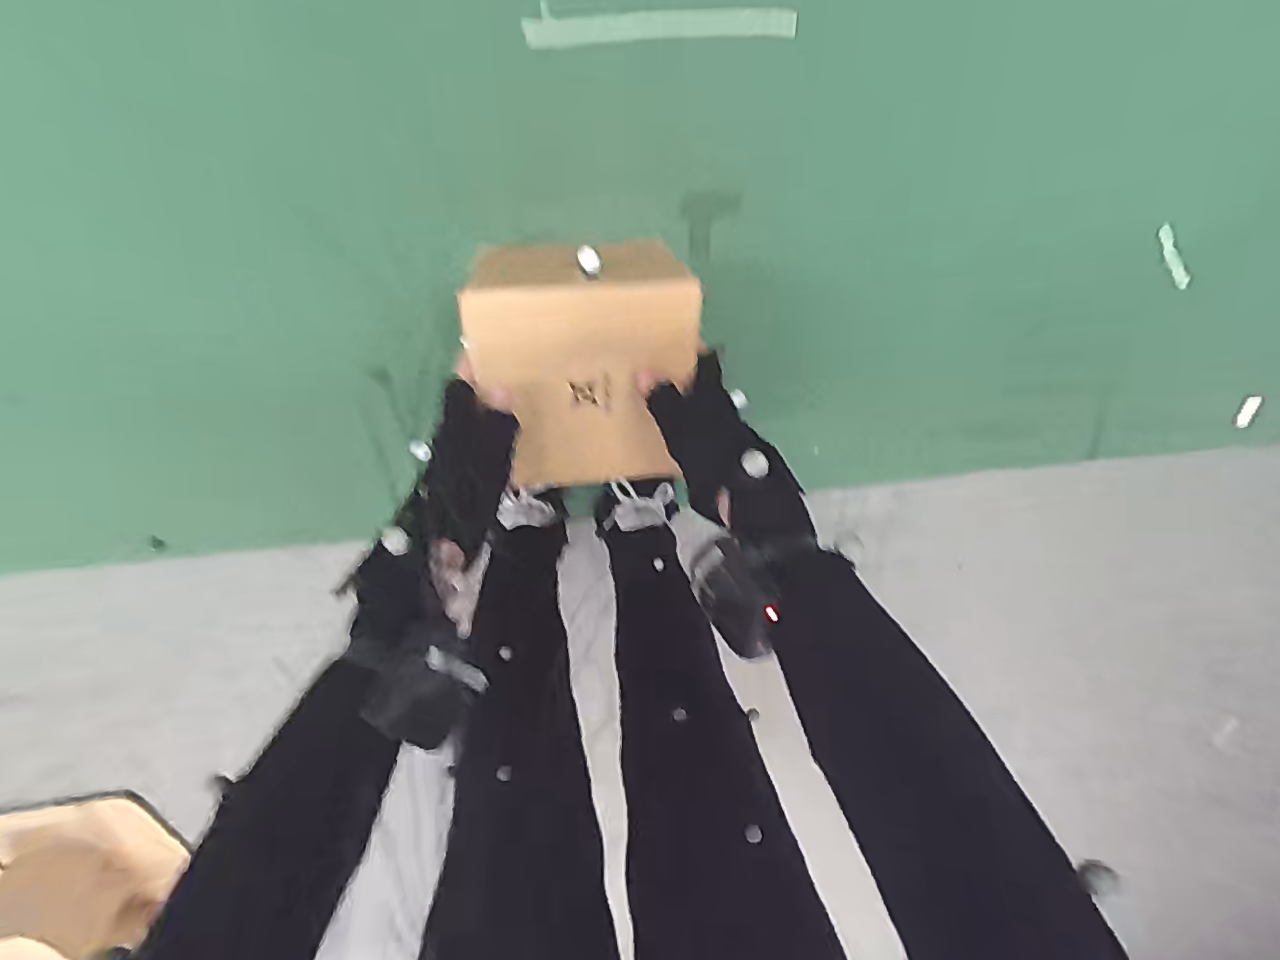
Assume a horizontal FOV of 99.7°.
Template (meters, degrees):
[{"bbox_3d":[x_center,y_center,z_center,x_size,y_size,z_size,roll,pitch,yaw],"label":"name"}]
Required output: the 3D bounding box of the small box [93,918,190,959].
[{"bbox_3d":[-1.210,1.165,1.263,0.179,0.176,0.168,-13,118,1],"label":"small box"}]
